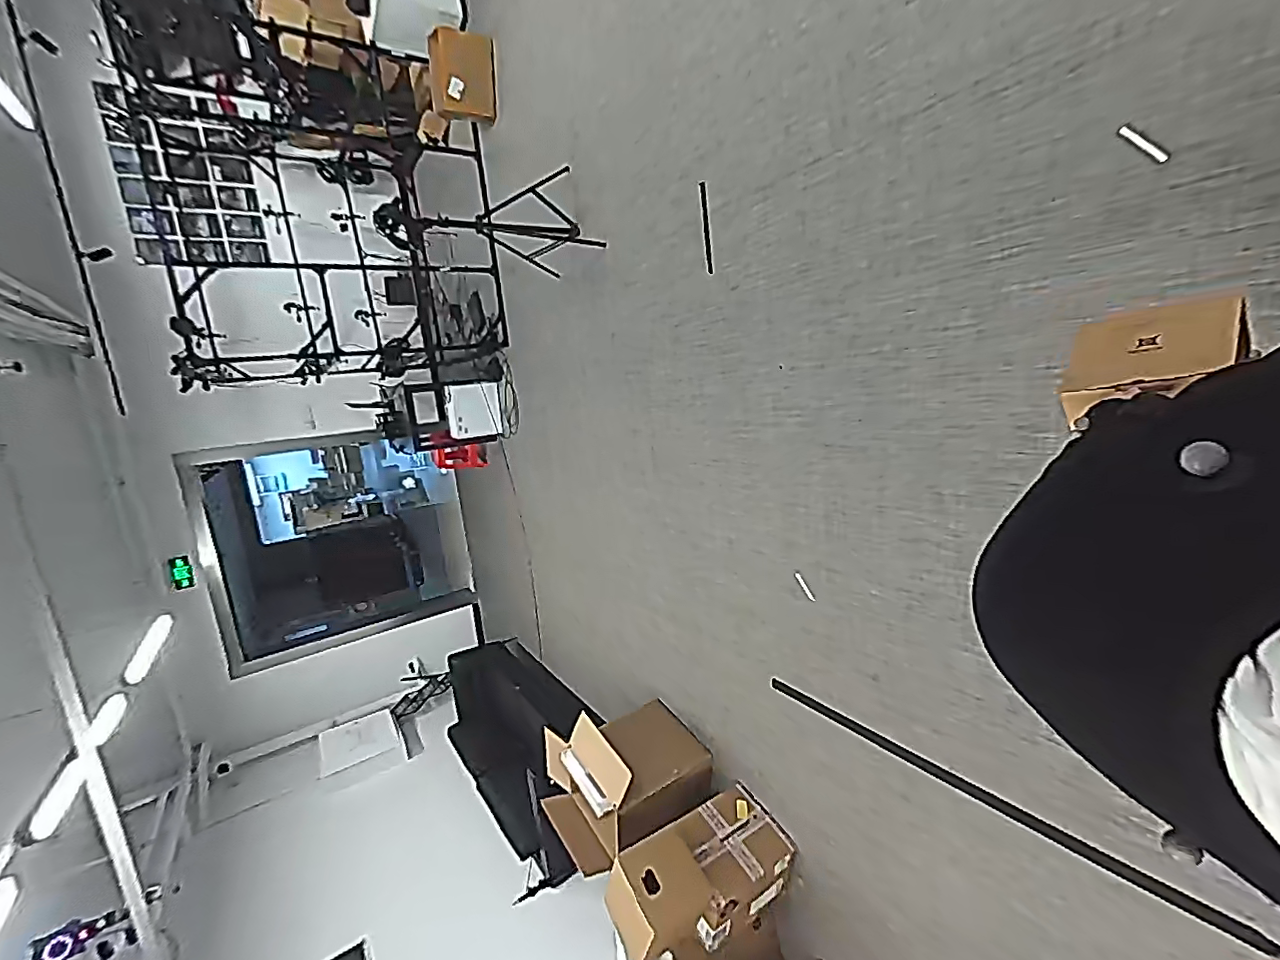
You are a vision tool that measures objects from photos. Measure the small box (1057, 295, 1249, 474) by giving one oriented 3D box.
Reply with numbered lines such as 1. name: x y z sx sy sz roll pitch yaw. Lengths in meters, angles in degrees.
1. small box: 0.719 -0.120 0.755 0.168 0.179 0.176 -3 129 52
